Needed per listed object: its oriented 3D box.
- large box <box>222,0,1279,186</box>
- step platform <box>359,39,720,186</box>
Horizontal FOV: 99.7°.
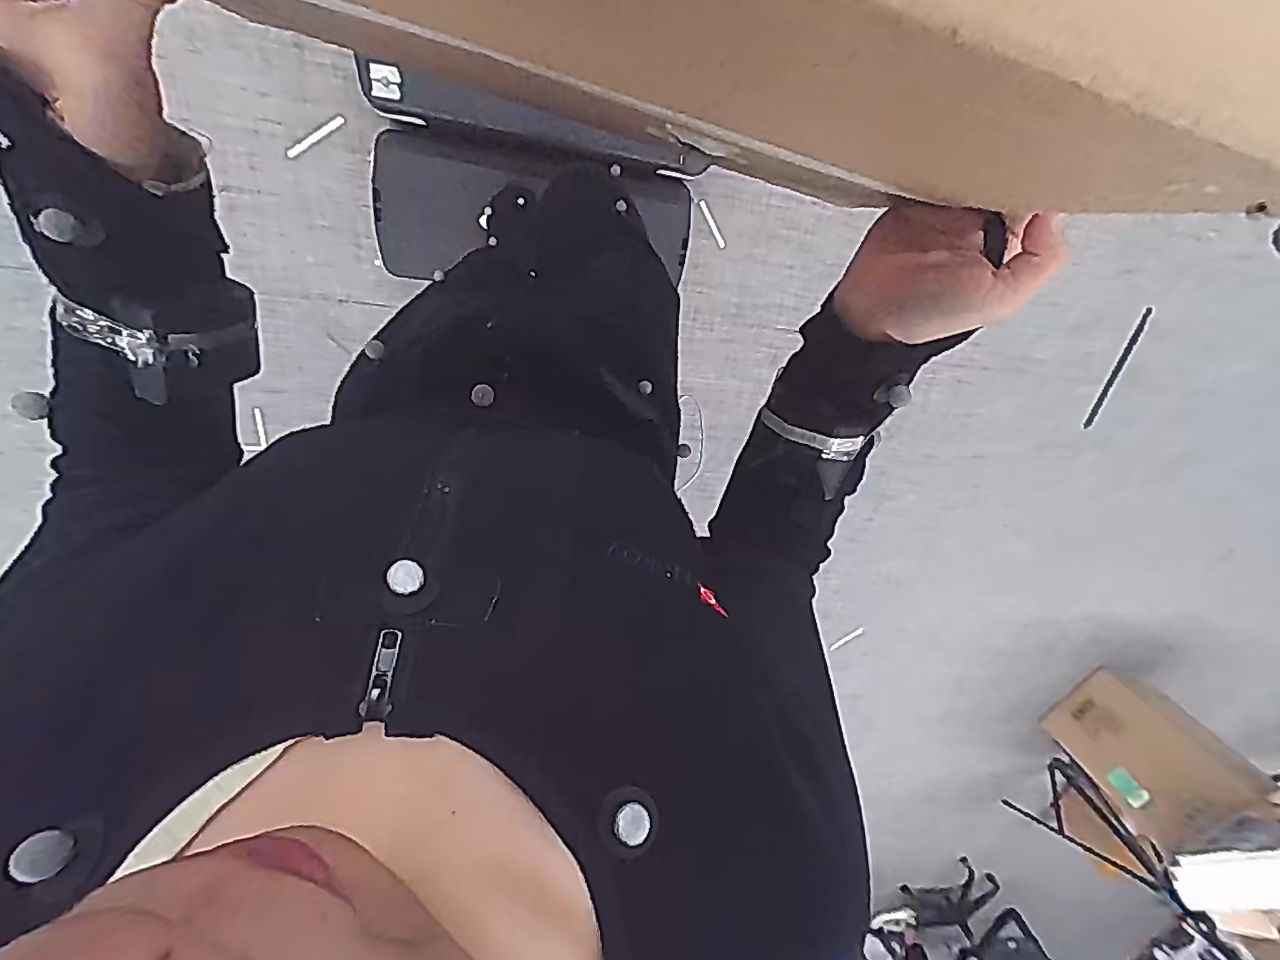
[{"bbox_3d":[0.000,-0.311,0.155,0.408,0.320,0.320,9,118,-11],"label":"large box"},{"bbox_3d":[-0.154,-0.797,1.019,0.684,0.204,0.286,8,117,-16],"label":"step platform"}]
